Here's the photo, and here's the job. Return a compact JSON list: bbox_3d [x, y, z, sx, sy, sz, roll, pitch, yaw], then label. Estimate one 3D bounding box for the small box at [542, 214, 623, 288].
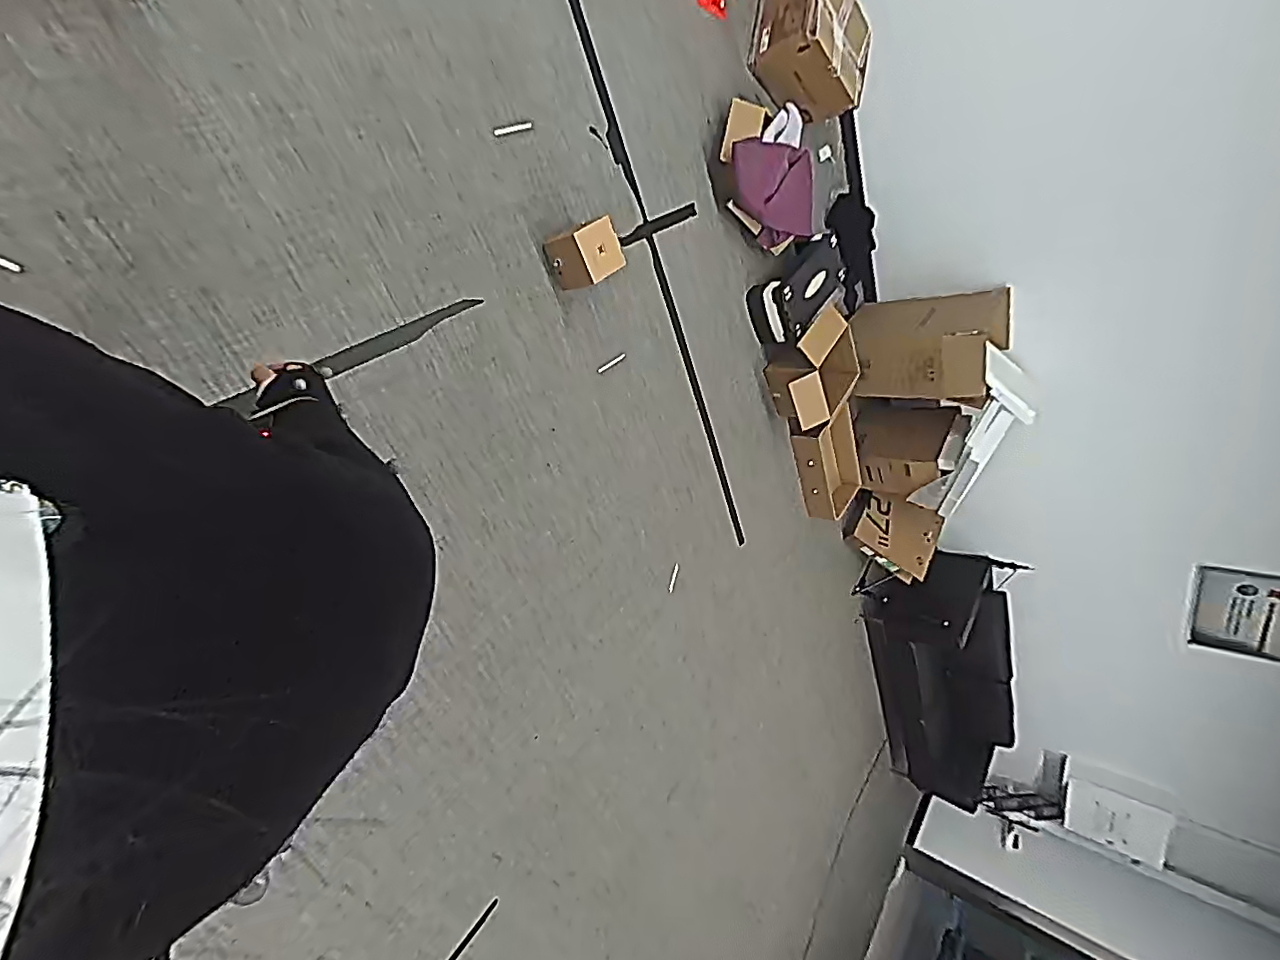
[{"bbox_3d":[-0.192,-0.761,1.804,0.179,0.176,0.168,-46,125,-31],"label":"small box"}]
